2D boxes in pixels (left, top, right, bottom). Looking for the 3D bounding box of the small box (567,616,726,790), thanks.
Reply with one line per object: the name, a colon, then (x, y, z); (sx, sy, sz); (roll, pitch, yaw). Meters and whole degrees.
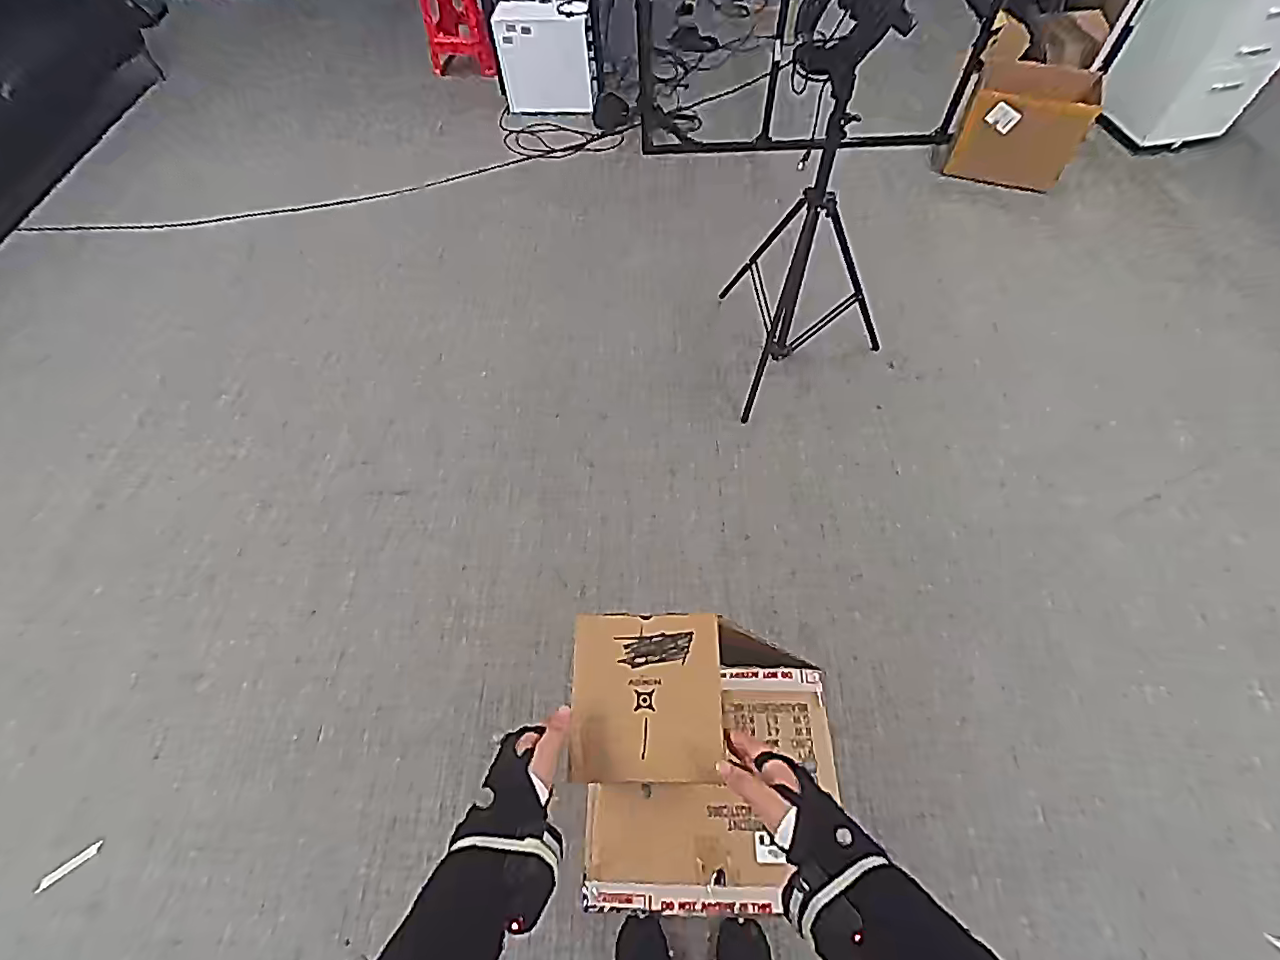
small box: (0.012, 0.275, 0.660); (0.168, 0.176, 0.179); (-2, 61, 4)
